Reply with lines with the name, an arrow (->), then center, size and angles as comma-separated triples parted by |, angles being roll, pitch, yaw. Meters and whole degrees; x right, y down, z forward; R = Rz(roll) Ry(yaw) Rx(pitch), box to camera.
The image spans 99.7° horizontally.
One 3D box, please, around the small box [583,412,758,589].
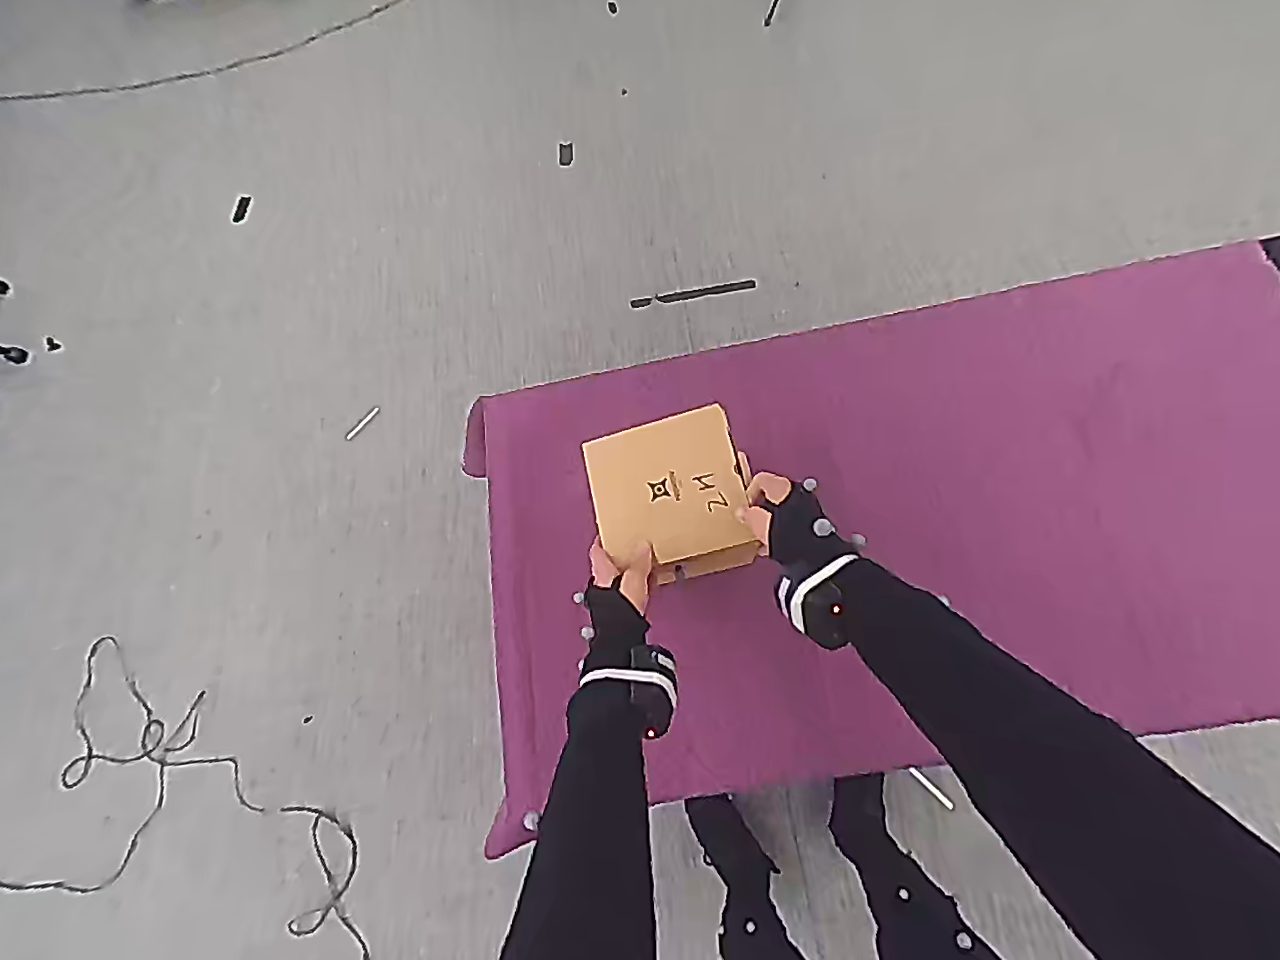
small box -> 0.041, 0.037, 0.692 | 0.179, 0.176, 0.168 | -13, 72, 3
